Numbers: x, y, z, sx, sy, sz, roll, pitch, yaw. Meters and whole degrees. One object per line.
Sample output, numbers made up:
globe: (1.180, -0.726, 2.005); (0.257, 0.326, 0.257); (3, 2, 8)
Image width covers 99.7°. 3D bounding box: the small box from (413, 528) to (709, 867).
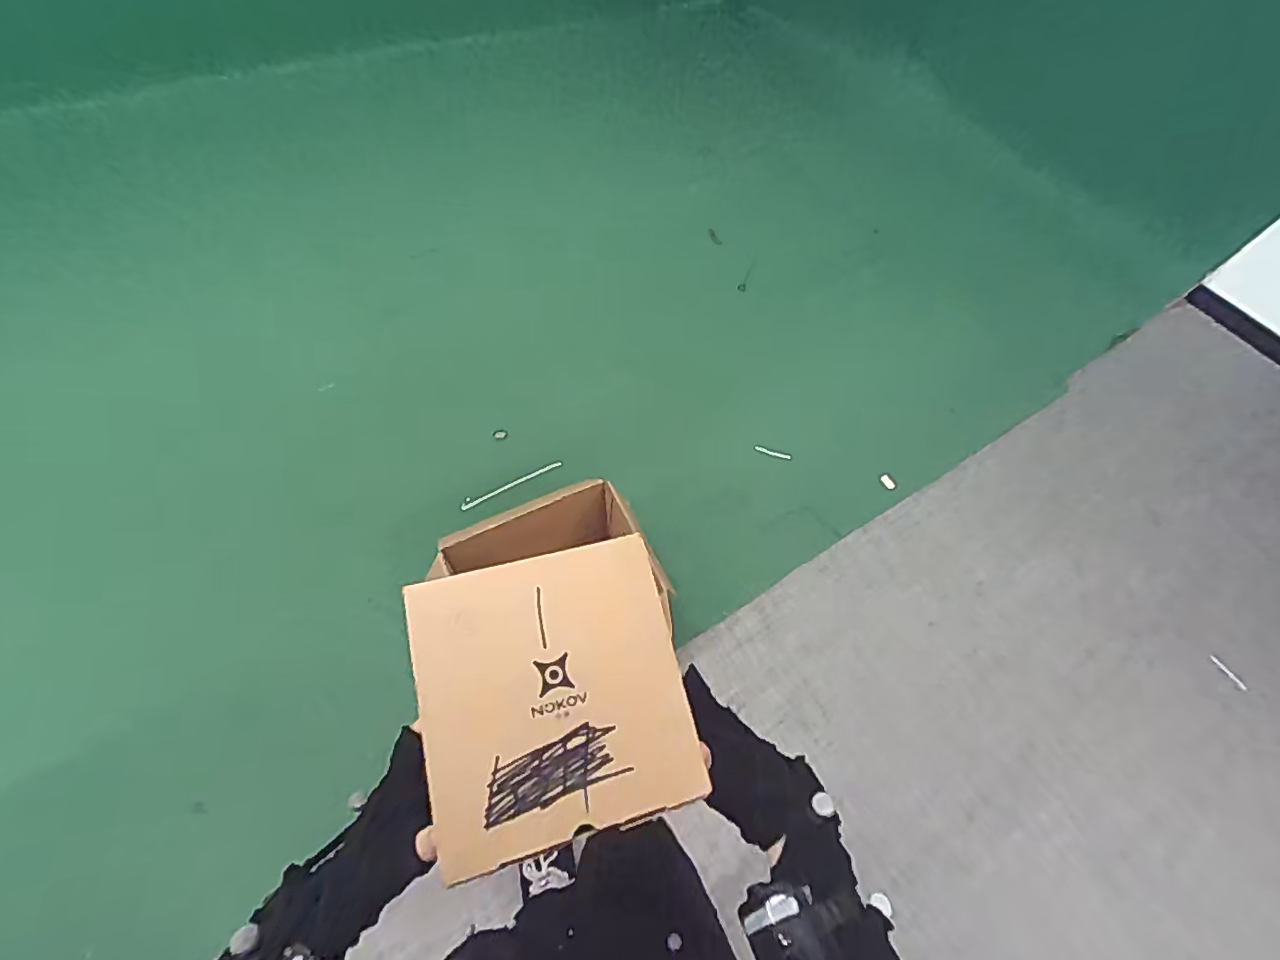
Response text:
small box: (-0.064, 0.155, 0.425); (0.168, 0.176, 0.179); (-11, 72, -13)
